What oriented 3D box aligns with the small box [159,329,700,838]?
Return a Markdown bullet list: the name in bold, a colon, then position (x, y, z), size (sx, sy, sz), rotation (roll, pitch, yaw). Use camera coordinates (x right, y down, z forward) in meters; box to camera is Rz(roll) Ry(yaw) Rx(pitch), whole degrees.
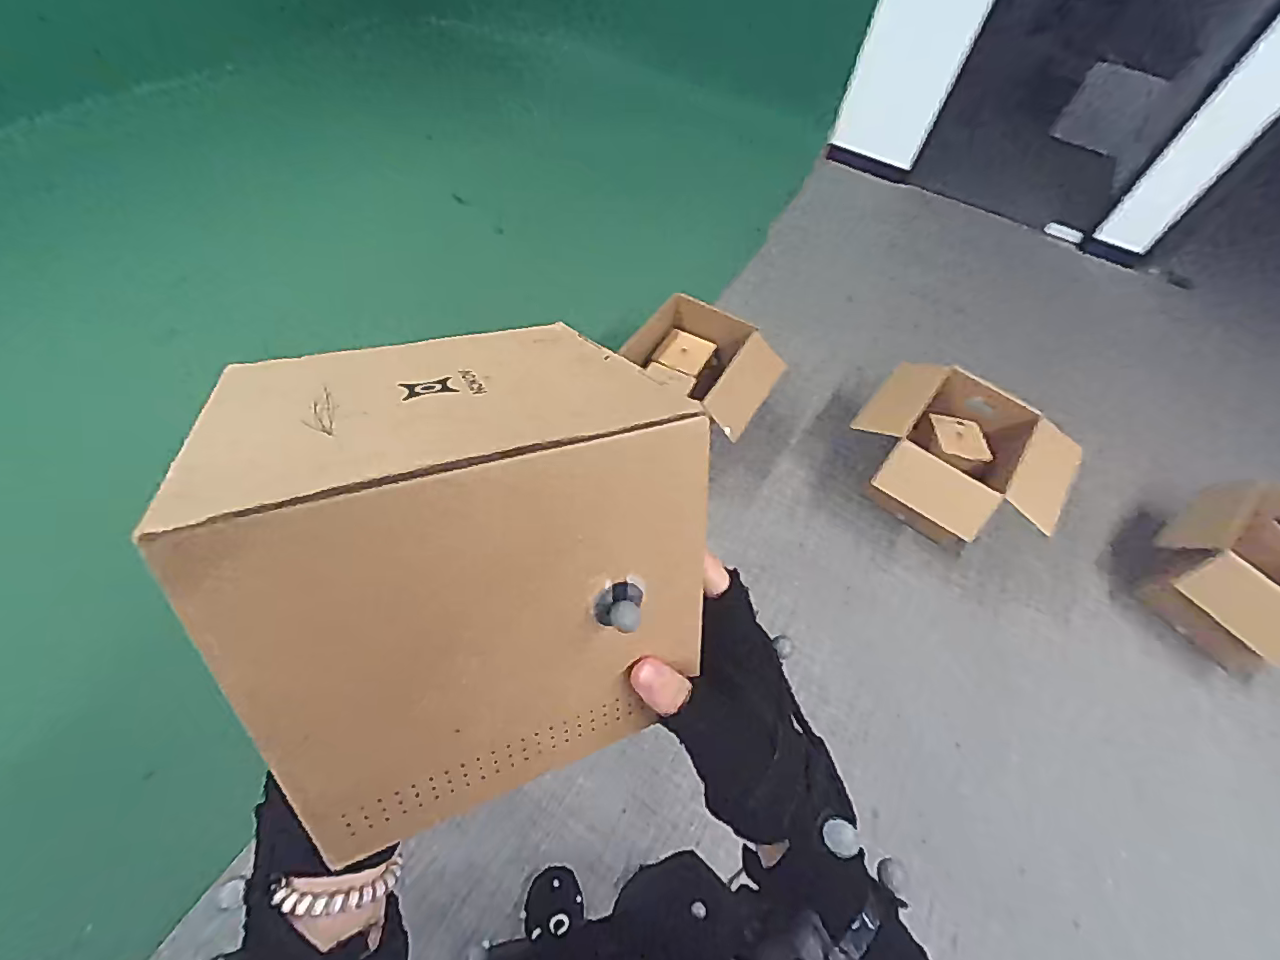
- **small box**: position (-0.086, 0.033, 0.282), size (0.179, 0.176, 0.168), rotation (-14, 31, -21)
